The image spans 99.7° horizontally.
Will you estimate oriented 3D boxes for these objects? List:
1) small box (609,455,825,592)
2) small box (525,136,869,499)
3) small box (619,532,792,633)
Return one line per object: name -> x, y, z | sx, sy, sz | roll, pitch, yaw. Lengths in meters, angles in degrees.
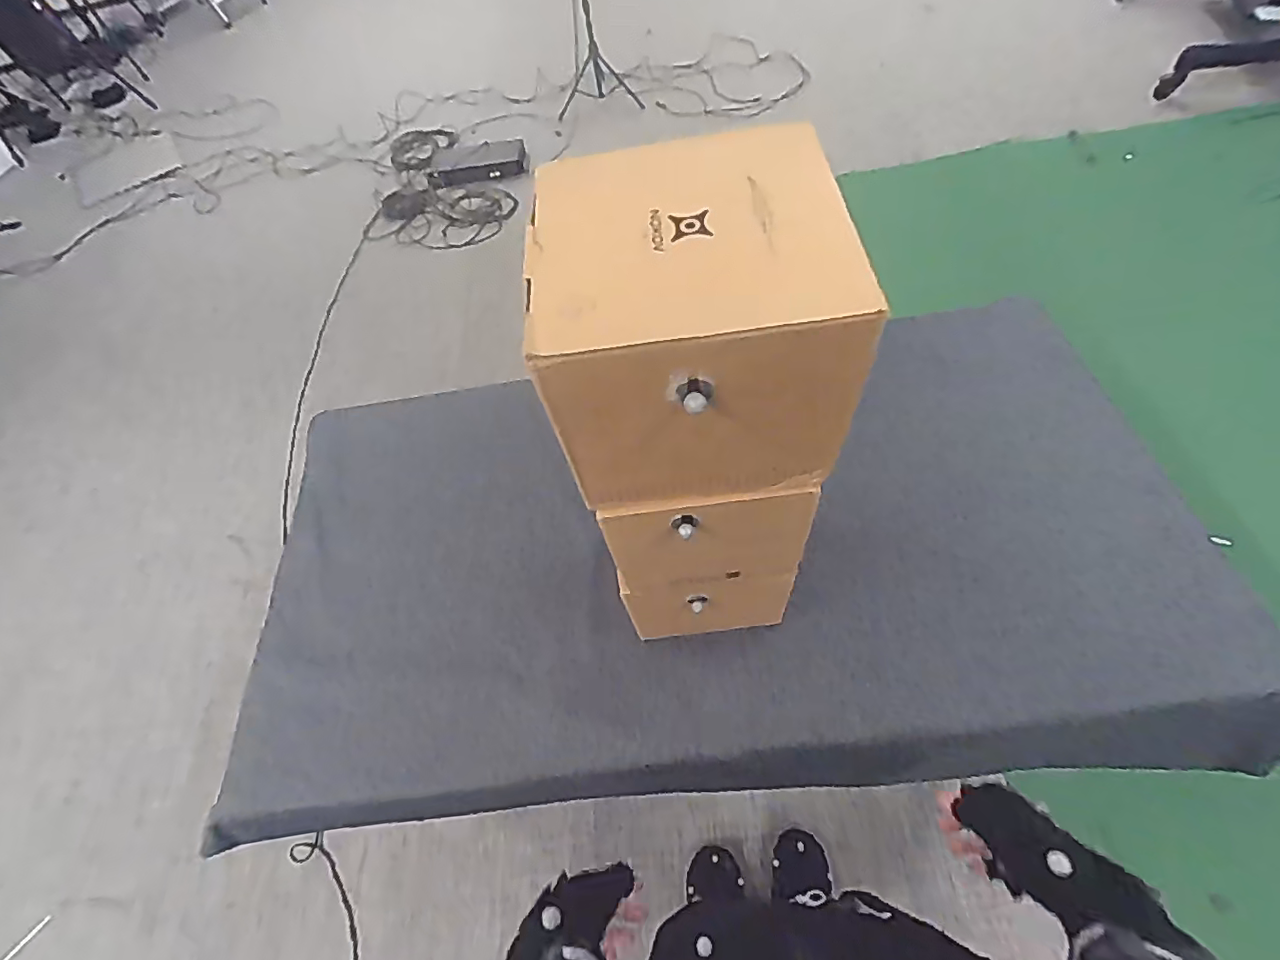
small box -> 0.057, -0.012, 0.516 | 0.168, 0.176, 0.179 | -9, 59, 2
small box -> 0.032, -0.098, 0.377 | 0.179, 0.176, 0.168 | -7, 60, 4
small box -> 0.073, 0.075, 0.650 | 0.179, 0.176, 0.168 | -8, 58, 3
